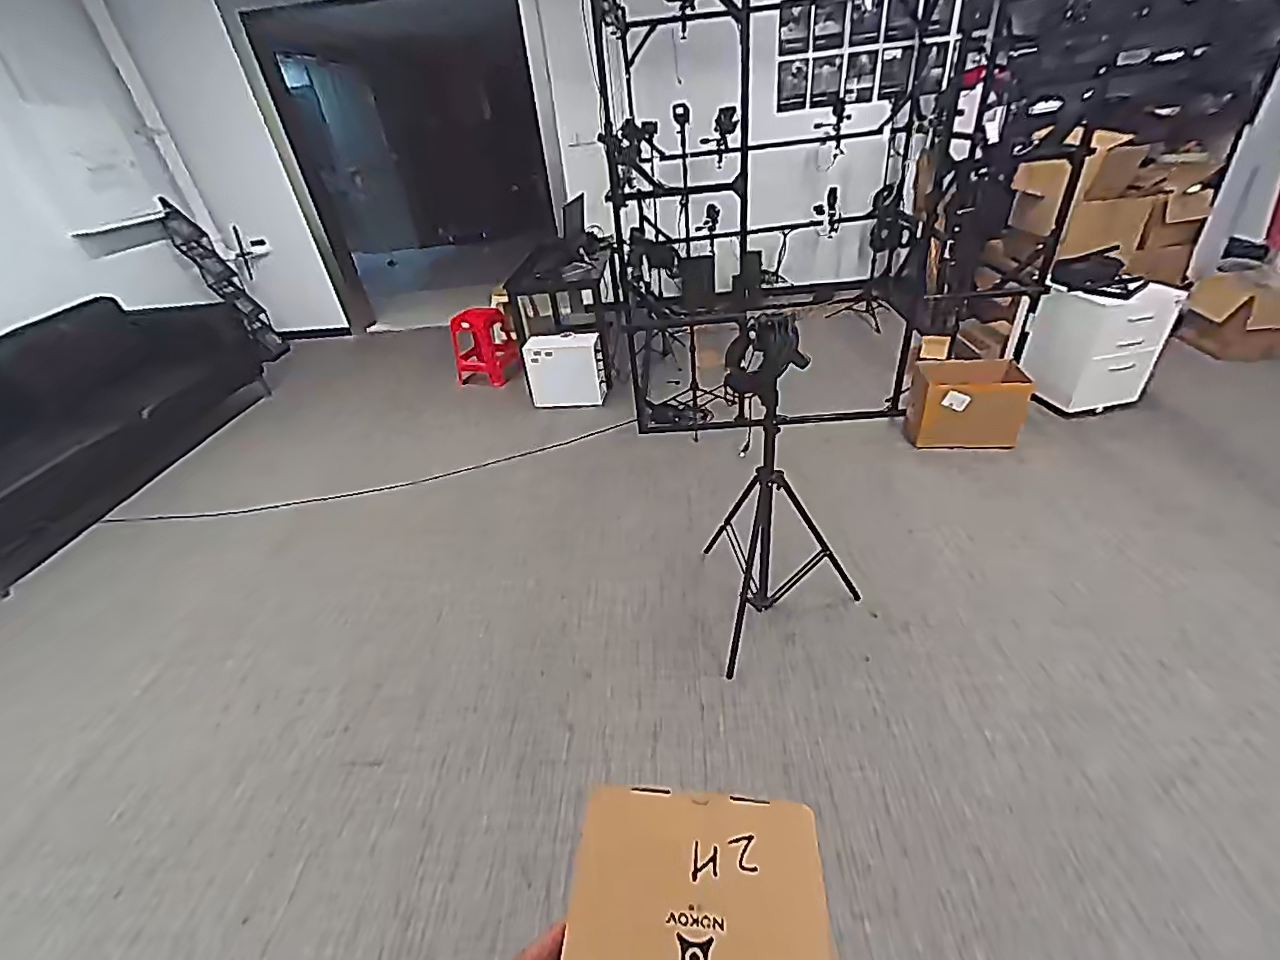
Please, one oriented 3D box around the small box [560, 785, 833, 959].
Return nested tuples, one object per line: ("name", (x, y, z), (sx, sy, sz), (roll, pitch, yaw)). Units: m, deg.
("small box", (0.038, 0.348, 0.376), (0.168, 0.176, 0.179), (3, 36, 6))
